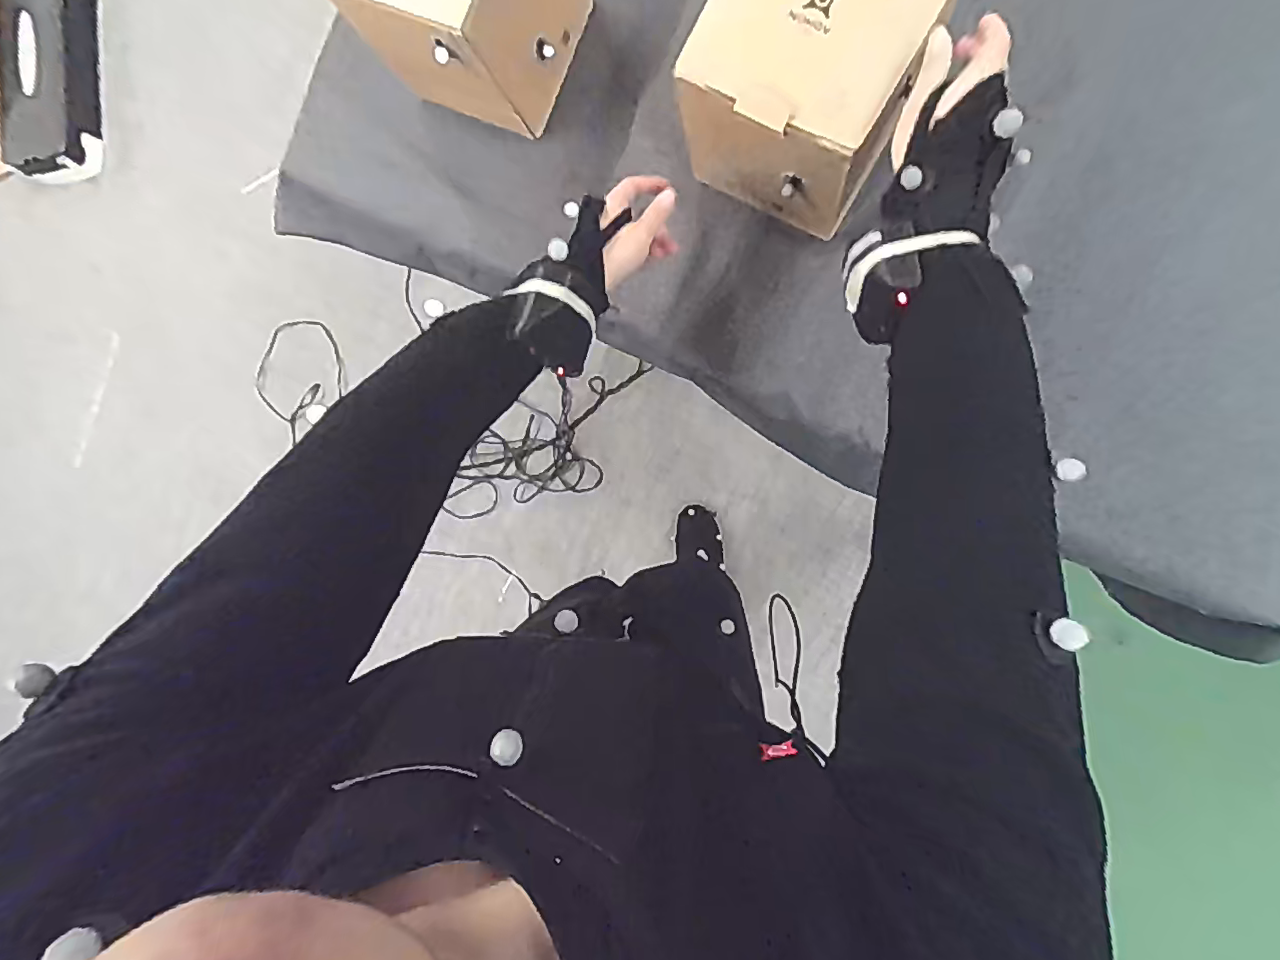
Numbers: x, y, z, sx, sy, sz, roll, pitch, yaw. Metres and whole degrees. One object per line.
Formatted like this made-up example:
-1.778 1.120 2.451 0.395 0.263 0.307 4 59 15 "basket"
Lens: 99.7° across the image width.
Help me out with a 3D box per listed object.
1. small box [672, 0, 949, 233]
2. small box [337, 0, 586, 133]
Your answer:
0.151 -0.361 0.491 0.168 0.176 0.179 31 97 8 "small box"
-0.181 -0.503 0.558 0.179 0.176 0.168 25 96 9 "small box"
